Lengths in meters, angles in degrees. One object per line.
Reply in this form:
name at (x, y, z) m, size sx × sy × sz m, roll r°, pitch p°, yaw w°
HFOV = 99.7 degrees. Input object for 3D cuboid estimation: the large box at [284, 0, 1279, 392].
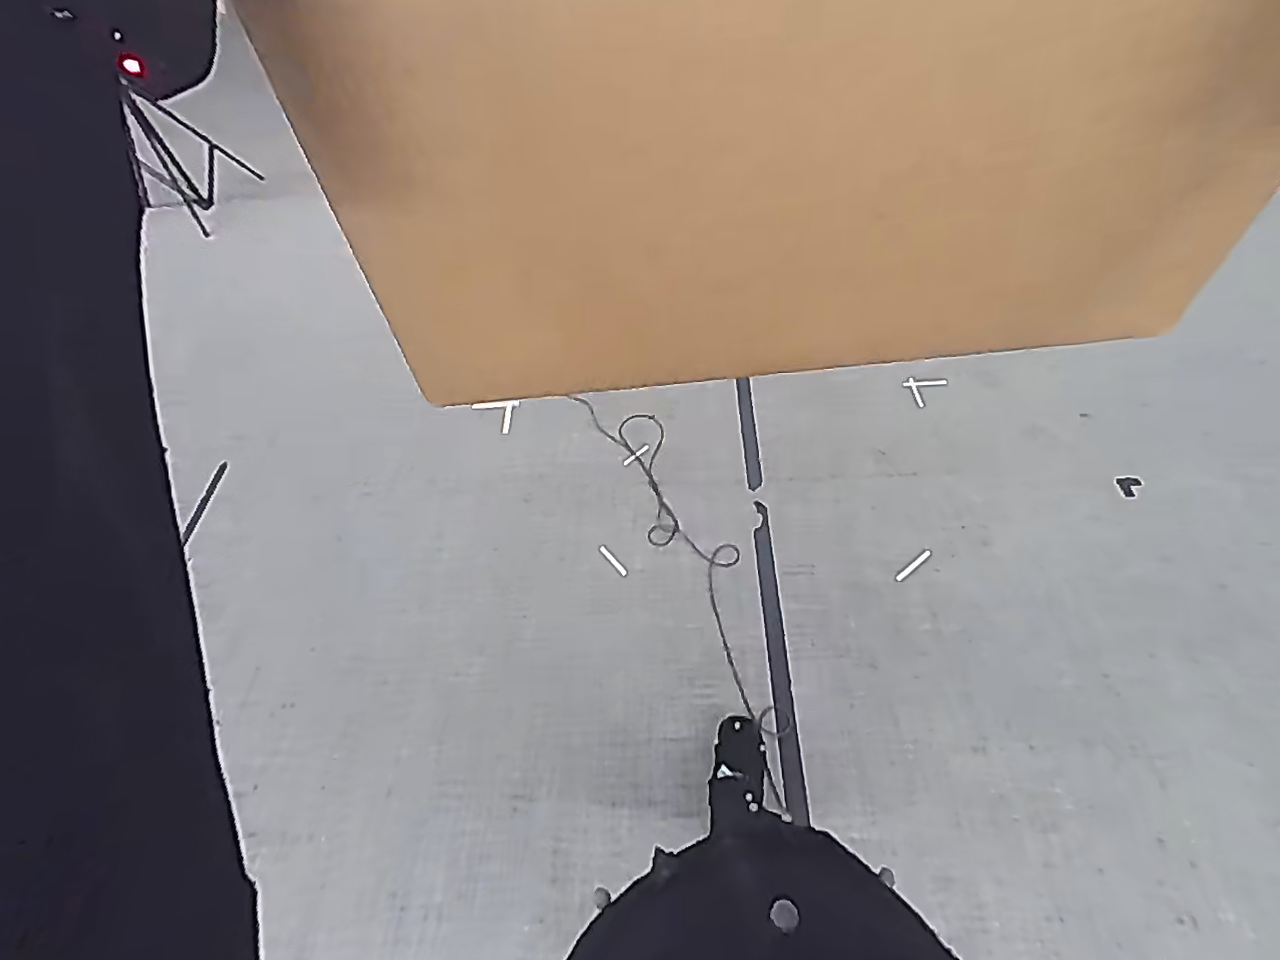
large box at (0.062, -0.277, 0.300) m, size 0.408 × 0.320 × 0.320 m, roll -6°, pitch 48°, yaw 0°
